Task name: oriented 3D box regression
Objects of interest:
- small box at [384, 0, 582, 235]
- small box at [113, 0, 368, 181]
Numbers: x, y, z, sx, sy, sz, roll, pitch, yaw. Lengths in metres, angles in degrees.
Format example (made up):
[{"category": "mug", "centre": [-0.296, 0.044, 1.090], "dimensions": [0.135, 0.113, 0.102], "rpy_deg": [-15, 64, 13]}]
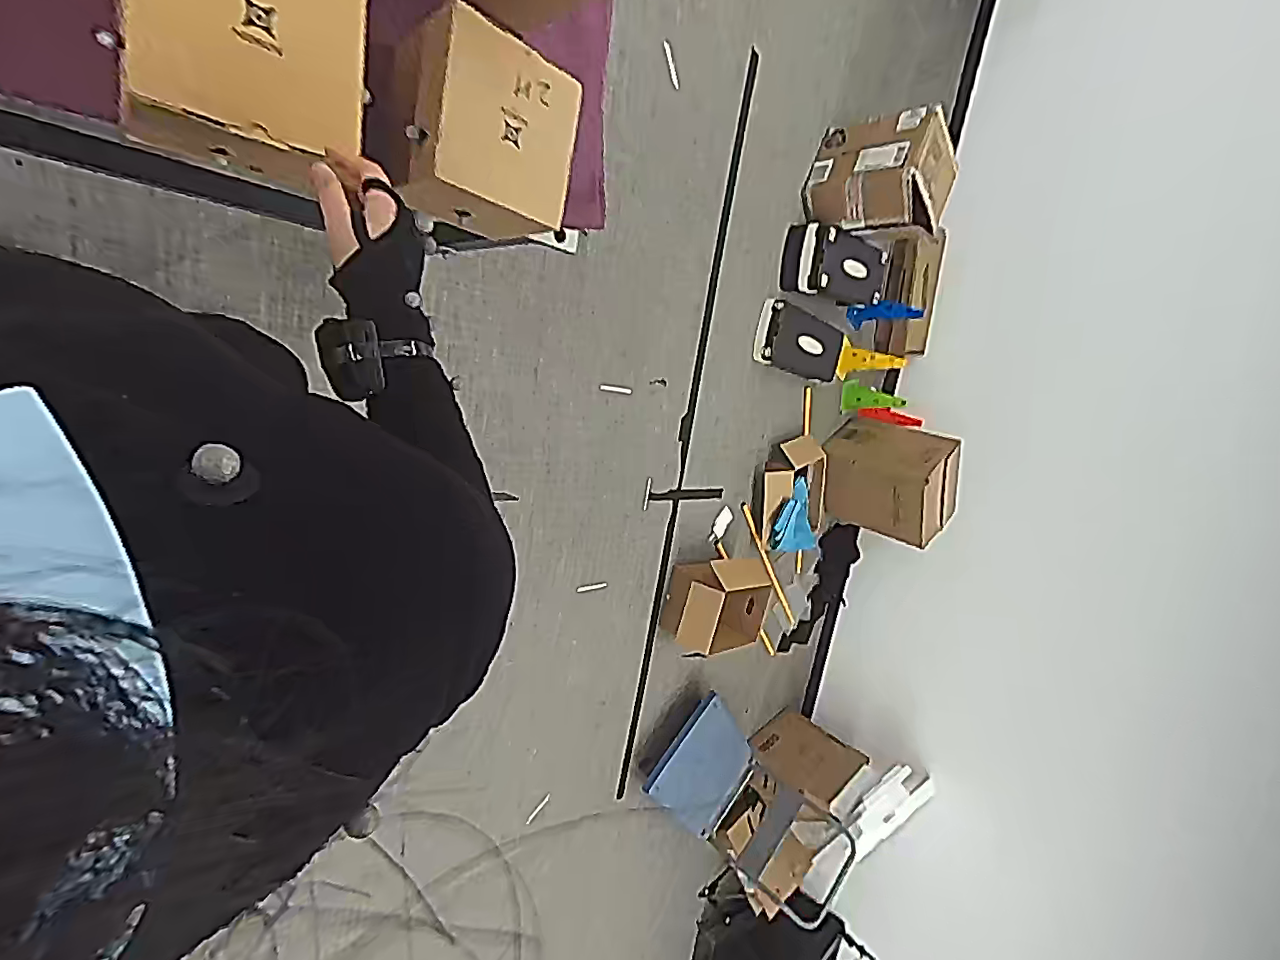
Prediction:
[{"category": "small box", "centre": [-0.198, -0.419, 0.665], "dimensions": [0.168, 0.176, 0.179], "rpy_deg": [2, 102, -45]}, {"category": "small box", "centre": [-0.370, -0.403, 0.501], "dimensions": [0.168, 0.176, 0.179], "rpy_deg": [-4, 108, -45]}]
